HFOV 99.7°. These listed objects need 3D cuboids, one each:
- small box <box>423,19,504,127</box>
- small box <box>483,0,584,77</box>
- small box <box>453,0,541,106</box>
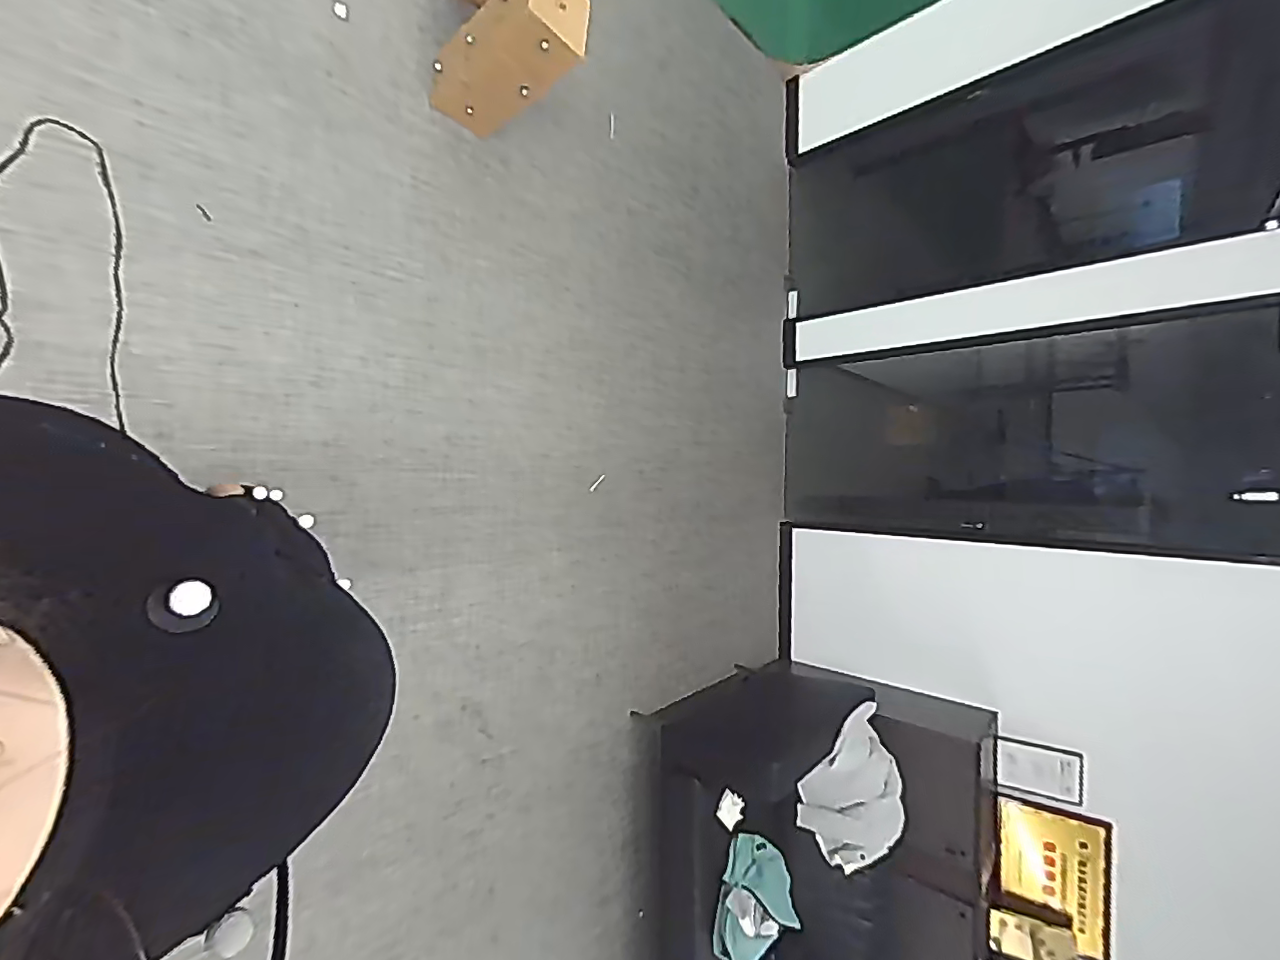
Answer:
[{"bbox_3d":[-0.512,-1.184,1.595,0.179,0.176,0.168,10,84,-47],"label":"small box"},{"bbox_3d":[-0.270,-1.177,1.376,0.179,0.176,0.168,10,84,-47],"label":"small box"},{"bbox_3d":[-0.387,-1.177,1.488,0.179,0.176,0.168,7,86,-48],"label":"small box"}]
